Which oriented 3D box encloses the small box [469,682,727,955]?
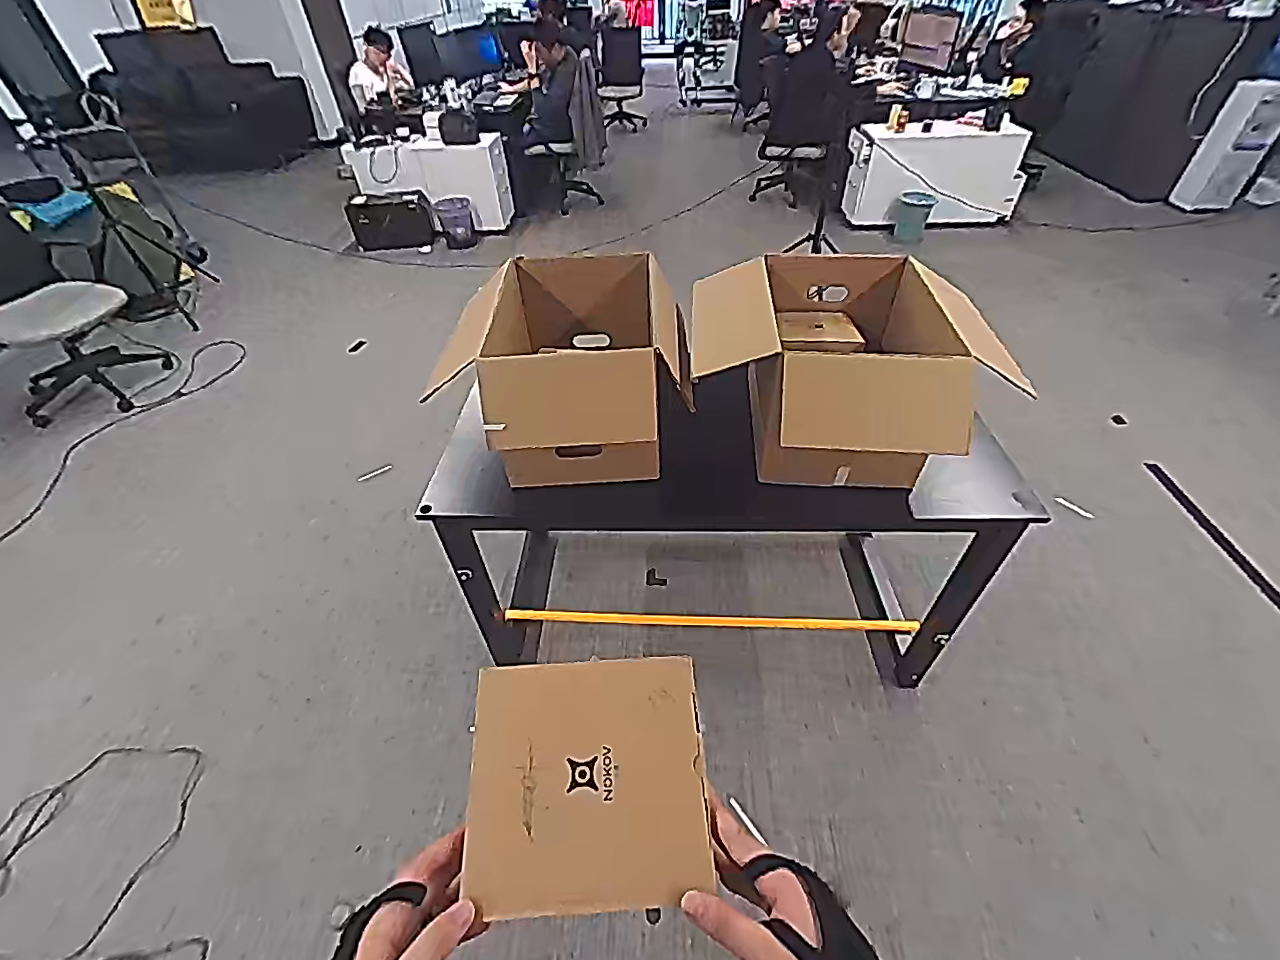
[{"bbox_3d":[-0.033,0.284,0.470,0.179,0.176,0.168,-5,56,-2],"label":"small box"}]
